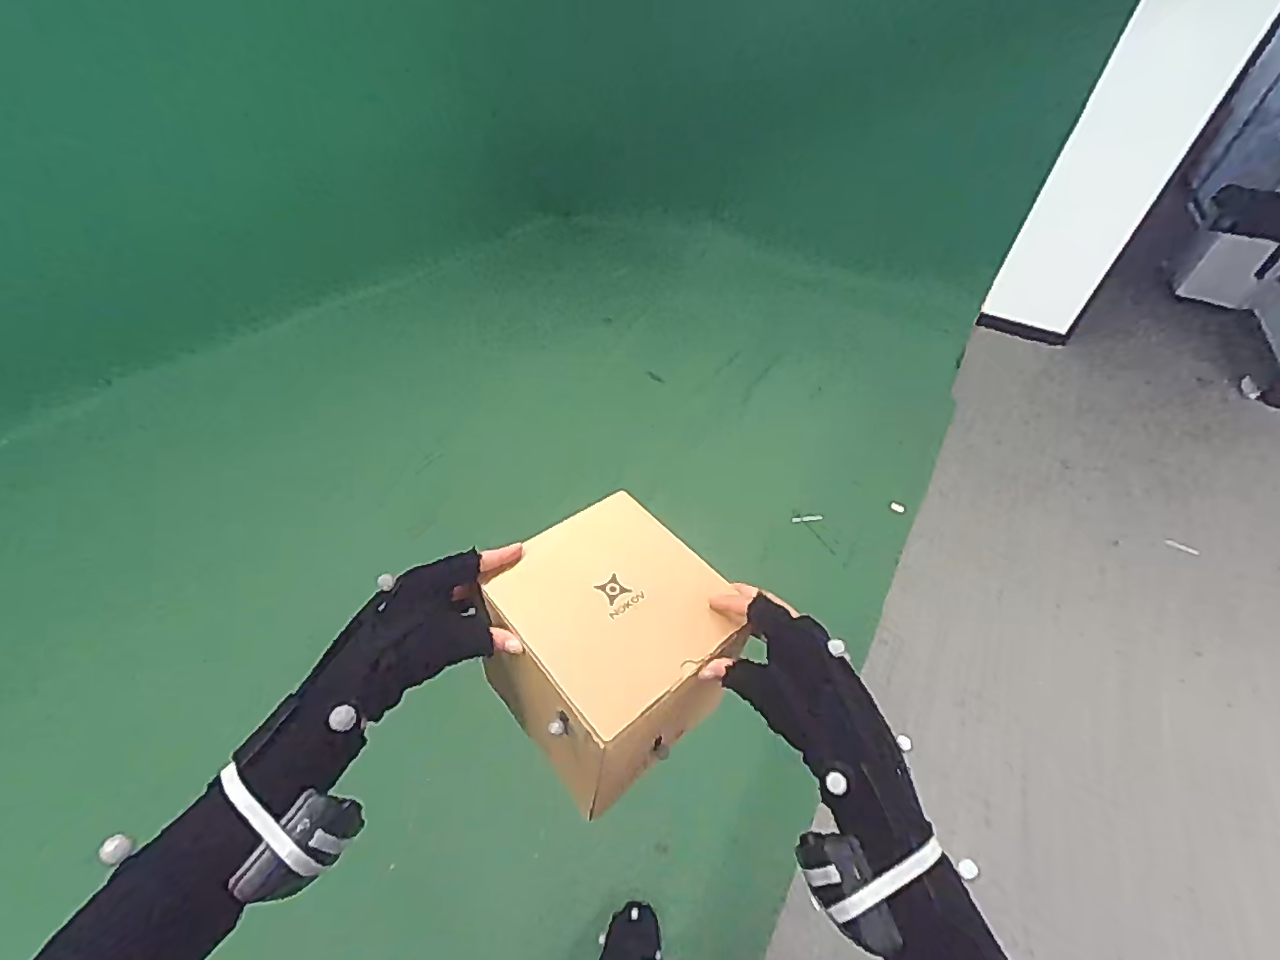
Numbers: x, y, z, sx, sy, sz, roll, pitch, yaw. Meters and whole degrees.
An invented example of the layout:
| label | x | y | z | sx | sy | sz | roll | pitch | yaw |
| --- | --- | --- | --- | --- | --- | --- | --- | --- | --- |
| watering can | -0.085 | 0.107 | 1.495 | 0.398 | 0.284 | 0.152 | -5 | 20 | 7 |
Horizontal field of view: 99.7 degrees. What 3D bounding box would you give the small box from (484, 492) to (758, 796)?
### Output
| label | x | y | z | sx | sy | sz | roll | pitch | yaw |
| --- | --- | --- | --- | --- | --- | --- | --- | --- | --- |
| small box | -0.027 | 0.148 | 0.503 | 0.168 | 0.176 | 0.179 | -28 | 55 | -34 |
